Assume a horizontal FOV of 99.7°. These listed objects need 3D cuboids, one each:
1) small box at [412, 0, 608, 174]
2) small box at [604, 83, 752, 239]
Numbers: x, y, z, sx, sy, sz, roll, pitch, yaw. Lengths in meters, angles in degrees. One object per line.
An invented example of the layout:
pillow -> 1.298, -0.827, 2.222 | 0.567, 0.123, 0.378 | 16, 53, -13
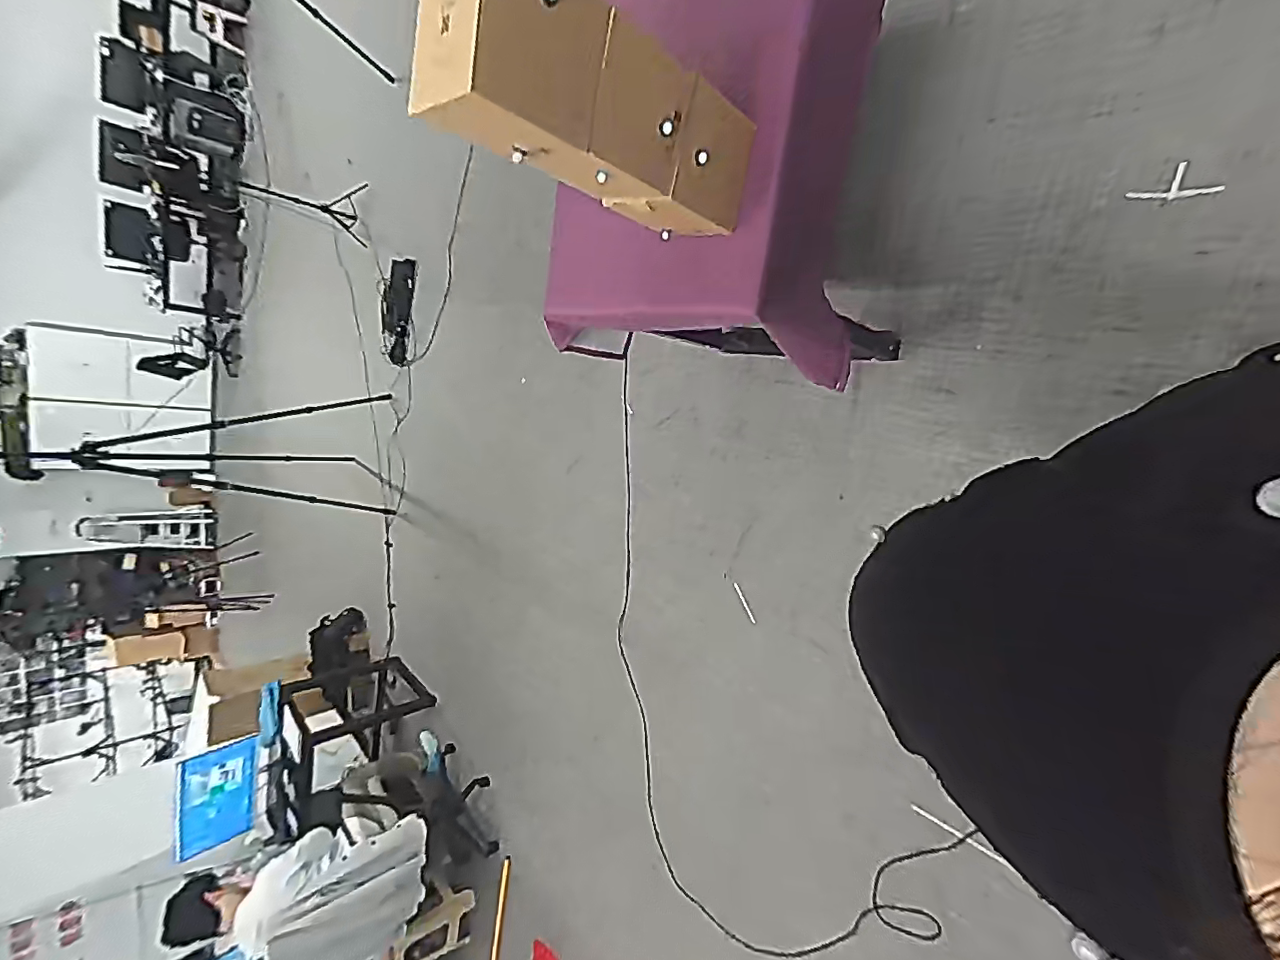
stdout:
small box -> -0.161, -0.513, 0.676 | 0.168, 0.176, 0.179 | 22, 107, 41
small box -> 0.066, -0.519, 0.913 | 0.168, 0.176, 0.179 | 21, 105, 41
